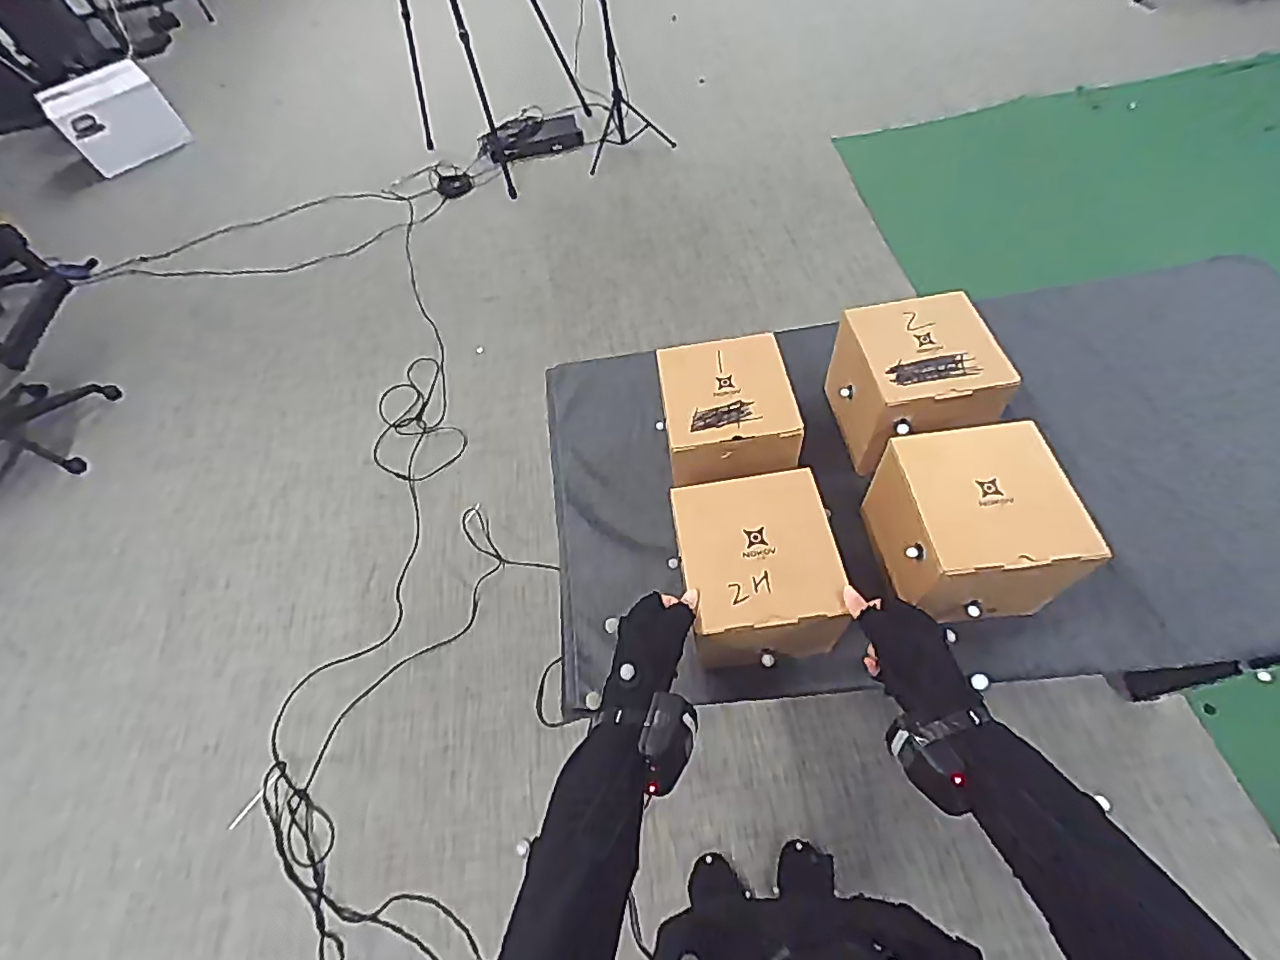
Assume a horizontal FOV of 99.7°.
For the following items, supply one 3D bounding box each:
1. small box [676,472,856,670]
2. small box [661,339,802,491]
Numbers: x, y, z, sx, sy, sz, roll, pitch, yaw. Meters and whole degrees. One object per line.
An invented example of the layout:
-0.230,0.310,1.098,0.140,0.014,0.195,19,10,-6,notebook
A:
0.139,0.115,0.658,0.168,0.176,0.179,-9,58,3,small box
0.126,-0.072,0.780,0.168,0.176,0.179,-8,57,3,small box
